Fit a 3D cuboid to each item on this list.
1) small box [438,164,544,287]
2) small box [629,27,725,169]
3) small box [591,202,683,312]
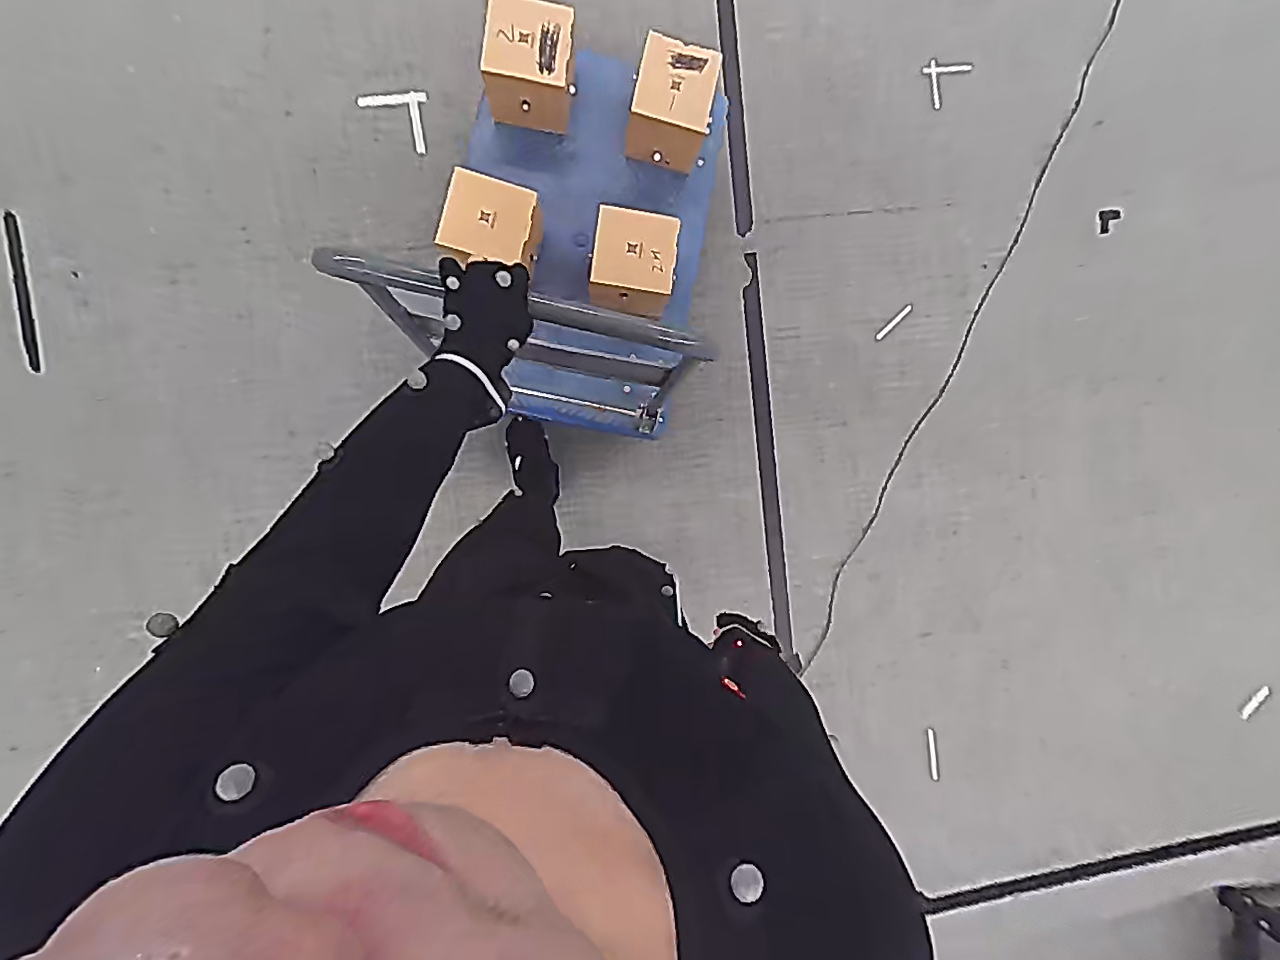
[{"bbox_3d":[-0.316,-0.544,1.182,0.179,0.176,0.168,14,89,-8],"label":"small box"},{"bbox_3d":[0.075,-0.846,1.215,0.168,0.176,0.179,13,91,-6],"label":"small box"},{"bbox_3d":[-0.012,-0.490,1.213,0.179,0.176,0.168,8,90,-6],"label":"small box"}]
